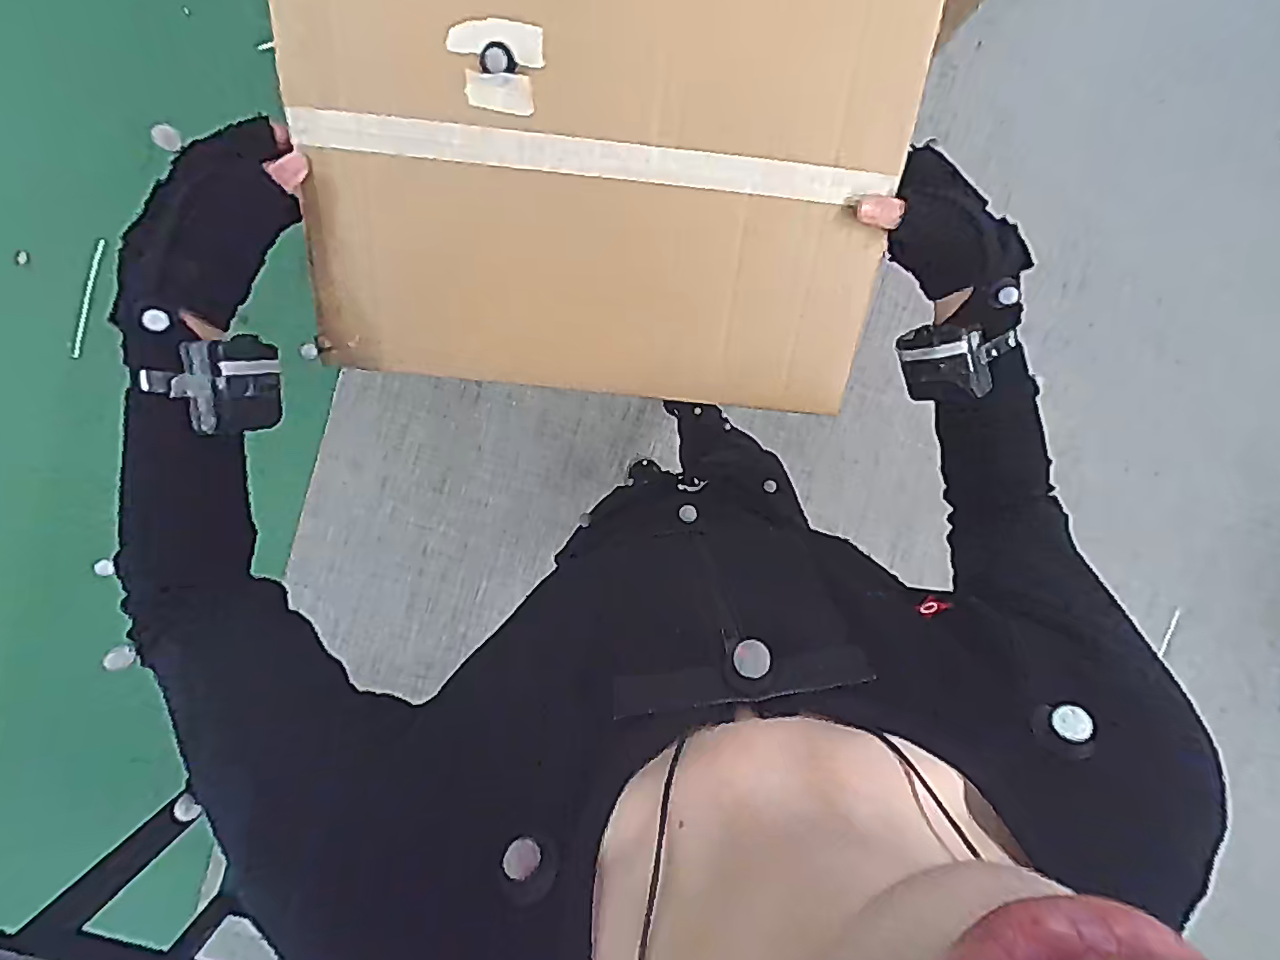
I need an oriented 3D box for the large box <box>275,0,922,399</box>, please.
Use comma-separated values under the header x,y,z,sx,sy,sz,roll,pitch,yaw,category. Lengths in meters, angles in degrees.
x,y,z,sx,sy,sz,roll,pitch,yaw,category
-0.029,-0.276,0.499,0.408,0.320,0.320,5,112,-1,large box
